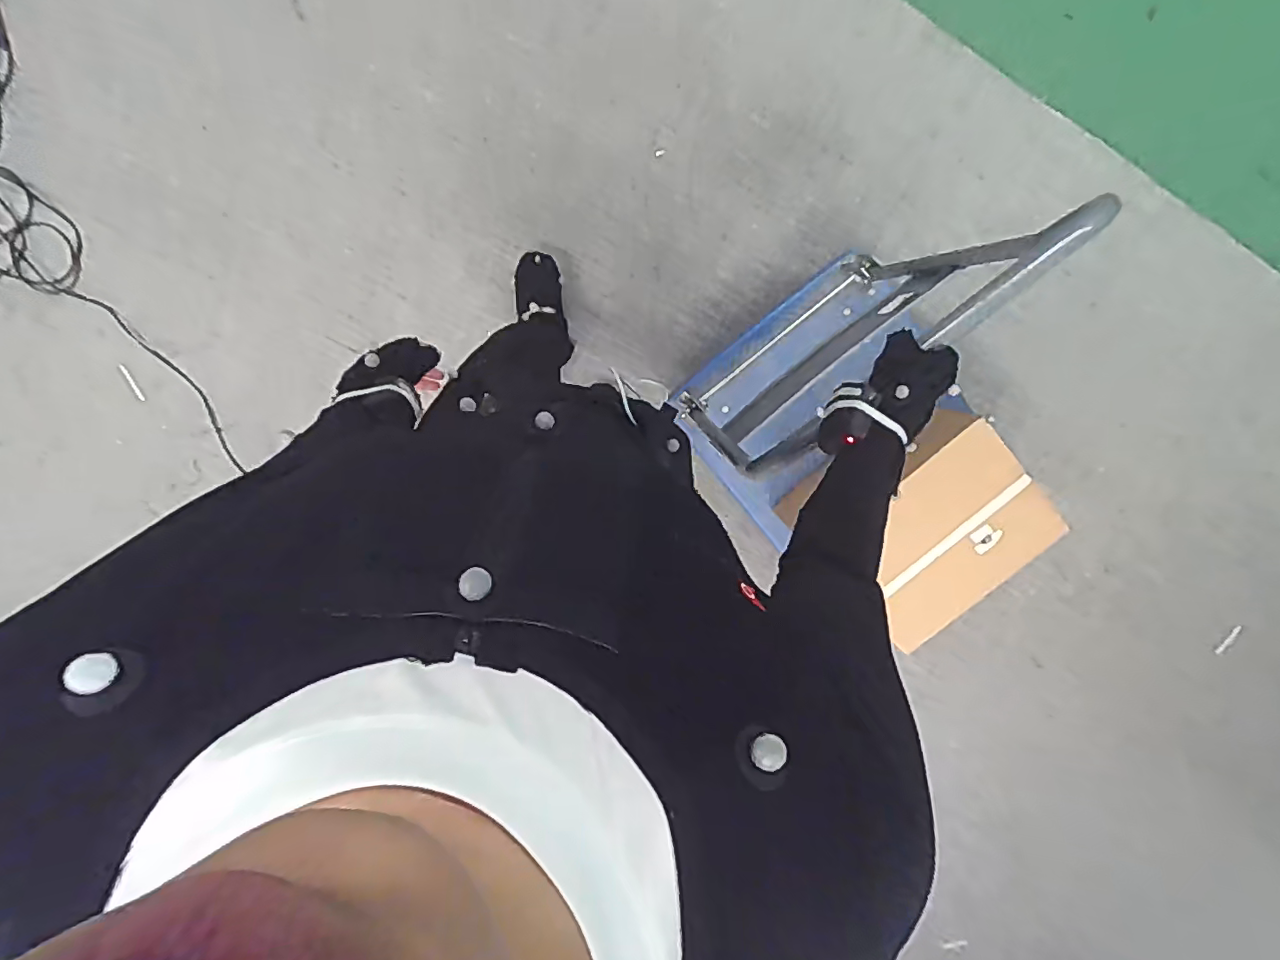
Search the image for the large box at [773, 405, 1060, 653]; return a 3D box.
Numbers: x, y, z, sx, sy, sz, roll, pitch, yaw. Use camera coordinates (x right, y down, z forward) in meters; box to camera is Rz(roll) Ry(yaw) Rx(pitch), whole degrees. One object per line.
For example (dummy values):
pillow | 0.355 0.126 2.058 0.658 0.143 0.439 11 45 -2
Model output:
large box | 0.576 0.087 1.202 0.408 0.320 0.320 -42 102 7
